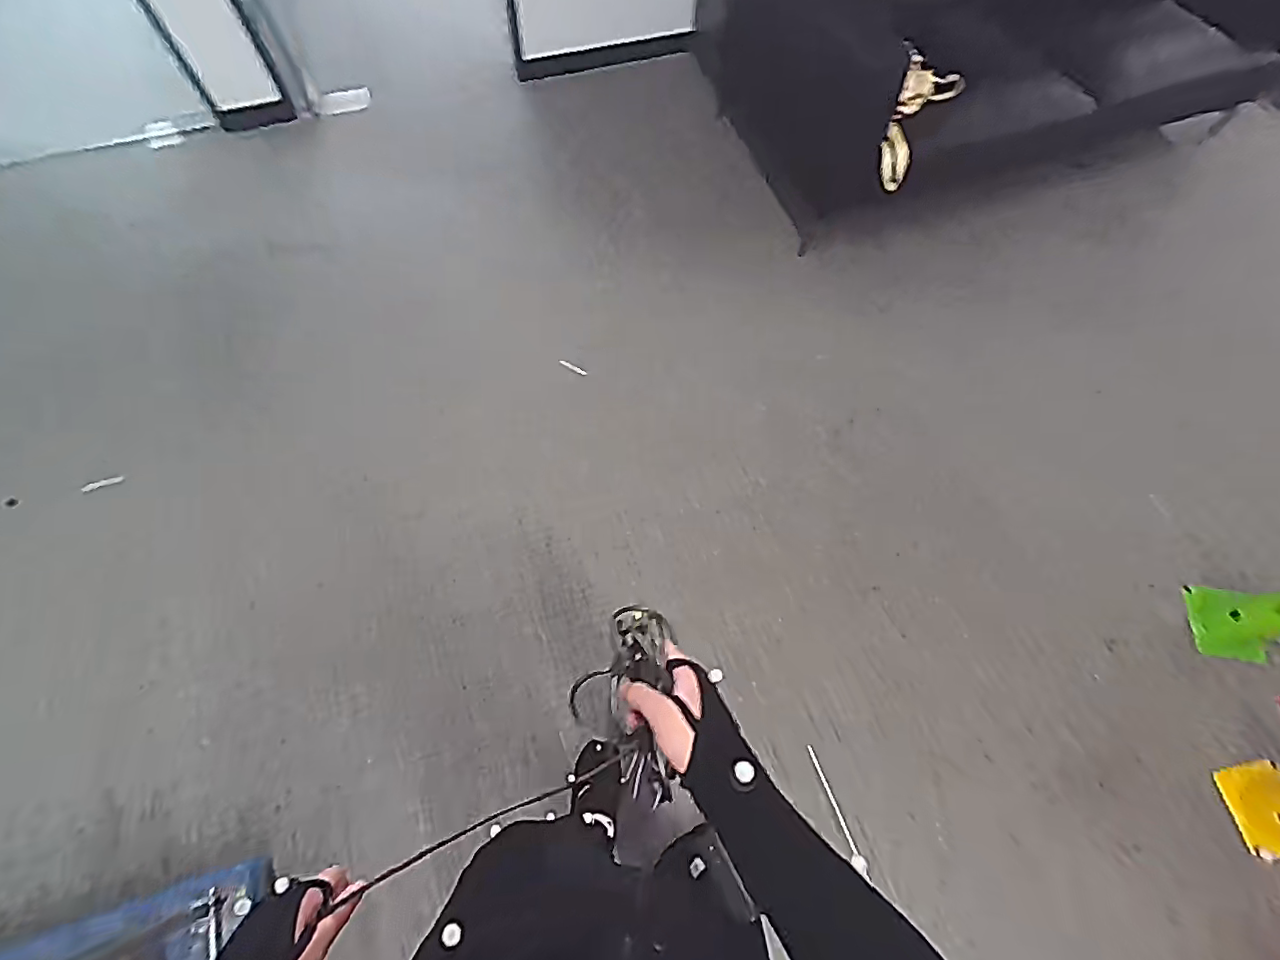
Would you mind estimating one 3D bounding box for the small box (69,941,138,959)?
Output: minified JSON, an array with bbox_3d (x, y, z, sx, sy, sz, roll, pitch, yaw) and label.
[{"bbox_3d":[-1.032,0.950,0.933,0.179,0.176,0.168,-14,69,-10],"label":"small box"}]
